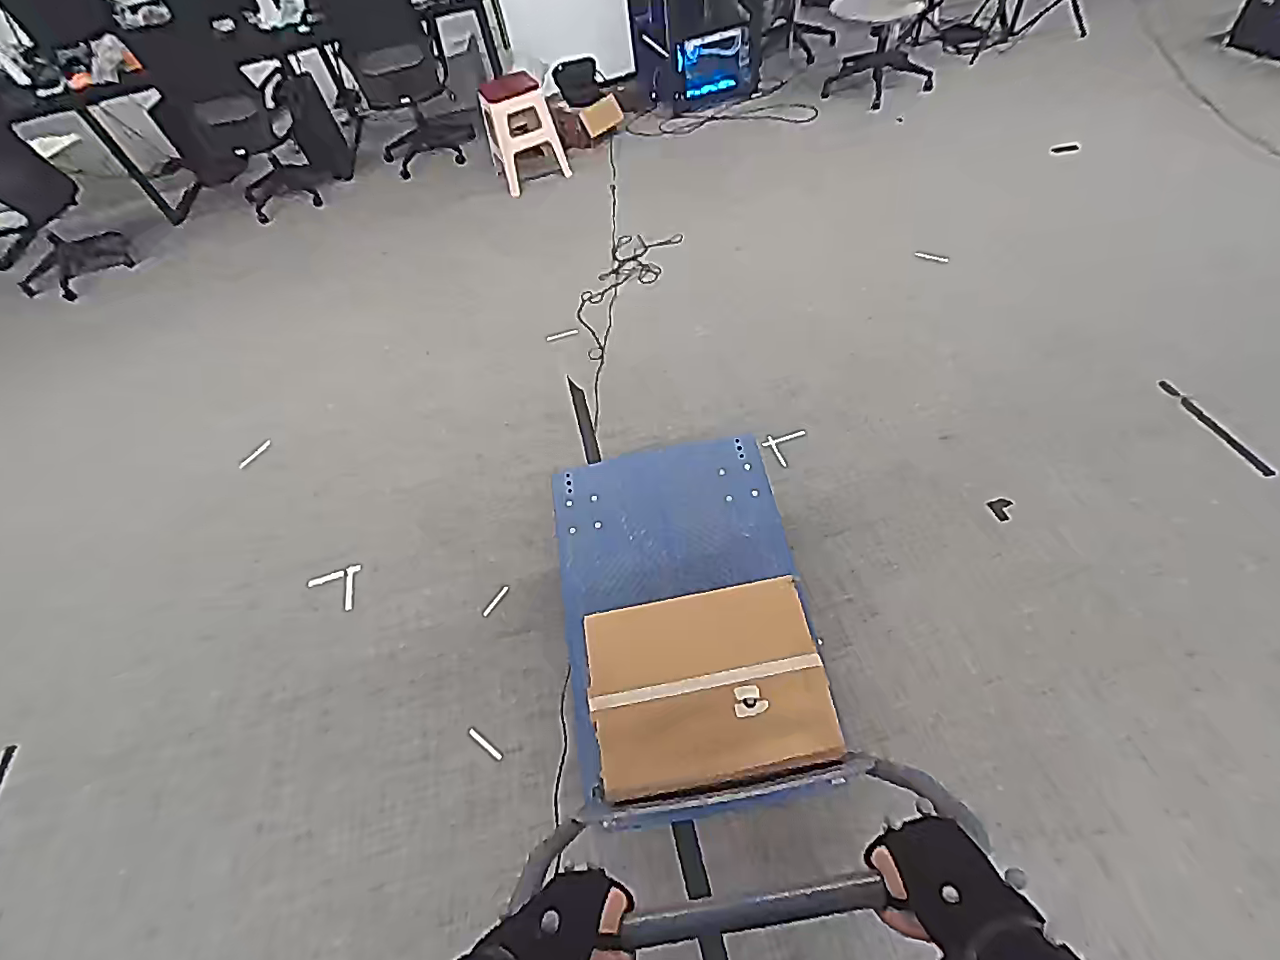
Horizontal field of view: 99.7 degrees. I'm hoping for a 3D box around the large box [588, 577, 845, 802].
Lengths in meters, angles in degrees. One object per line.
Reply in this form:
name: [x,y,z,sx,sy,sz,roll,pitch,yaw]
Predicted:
large box: [0.135,0.429,1.097,0.408,0.320,0.320,-12,63,0]
